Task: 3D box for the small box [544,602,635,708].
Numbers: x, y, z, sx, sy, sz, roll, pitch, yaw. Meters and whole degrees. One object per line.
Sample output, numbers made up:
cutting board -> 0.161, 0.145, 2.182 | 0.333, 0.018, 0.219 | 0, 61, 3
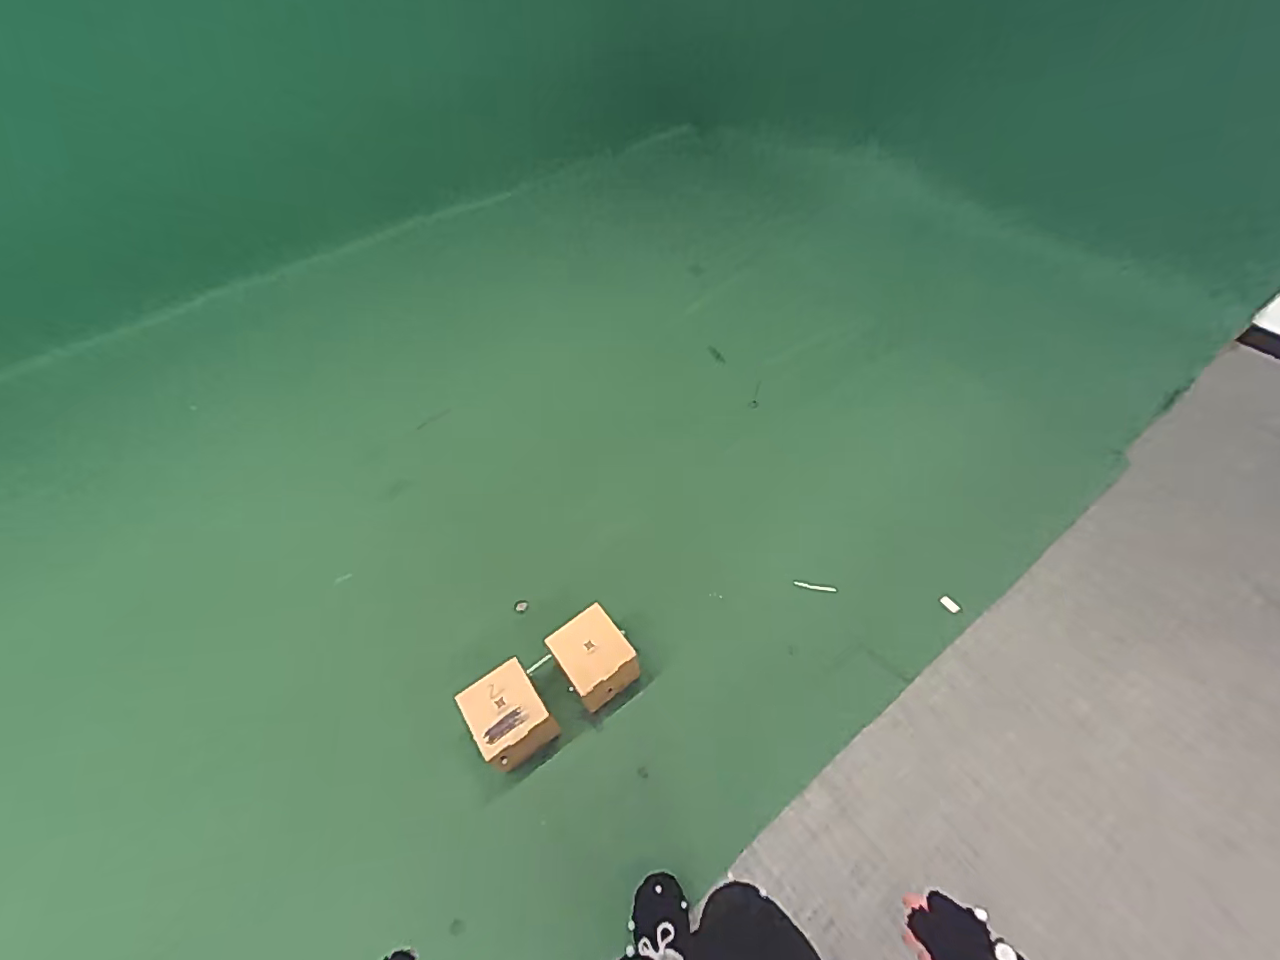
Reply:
small box -> -0.127, 0.459, 1.407 | 0.168, 0.176, 0.179 | -32, 60, -20
